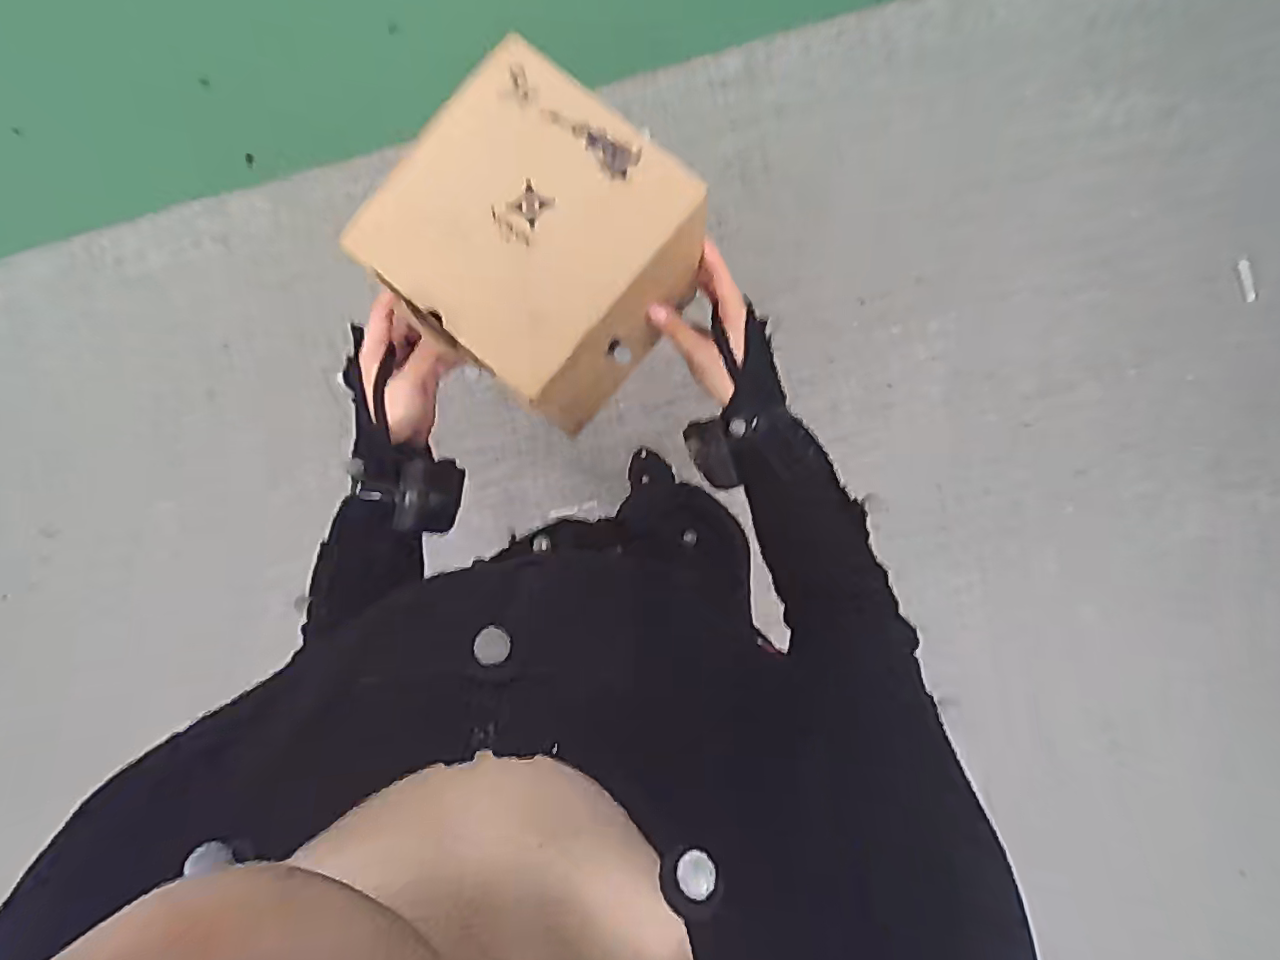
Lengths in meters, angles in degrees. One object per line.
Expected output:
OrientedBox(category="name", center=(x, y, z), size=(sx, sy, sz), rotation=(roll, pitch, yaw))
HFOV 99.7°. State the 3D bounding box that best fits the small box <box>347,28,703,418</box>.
OrientedBox(category="small box", center=(-0.068, -0.167, 0.418), size=(0.168, 0.176, 0.179), rotation=(40, 91, 4))
